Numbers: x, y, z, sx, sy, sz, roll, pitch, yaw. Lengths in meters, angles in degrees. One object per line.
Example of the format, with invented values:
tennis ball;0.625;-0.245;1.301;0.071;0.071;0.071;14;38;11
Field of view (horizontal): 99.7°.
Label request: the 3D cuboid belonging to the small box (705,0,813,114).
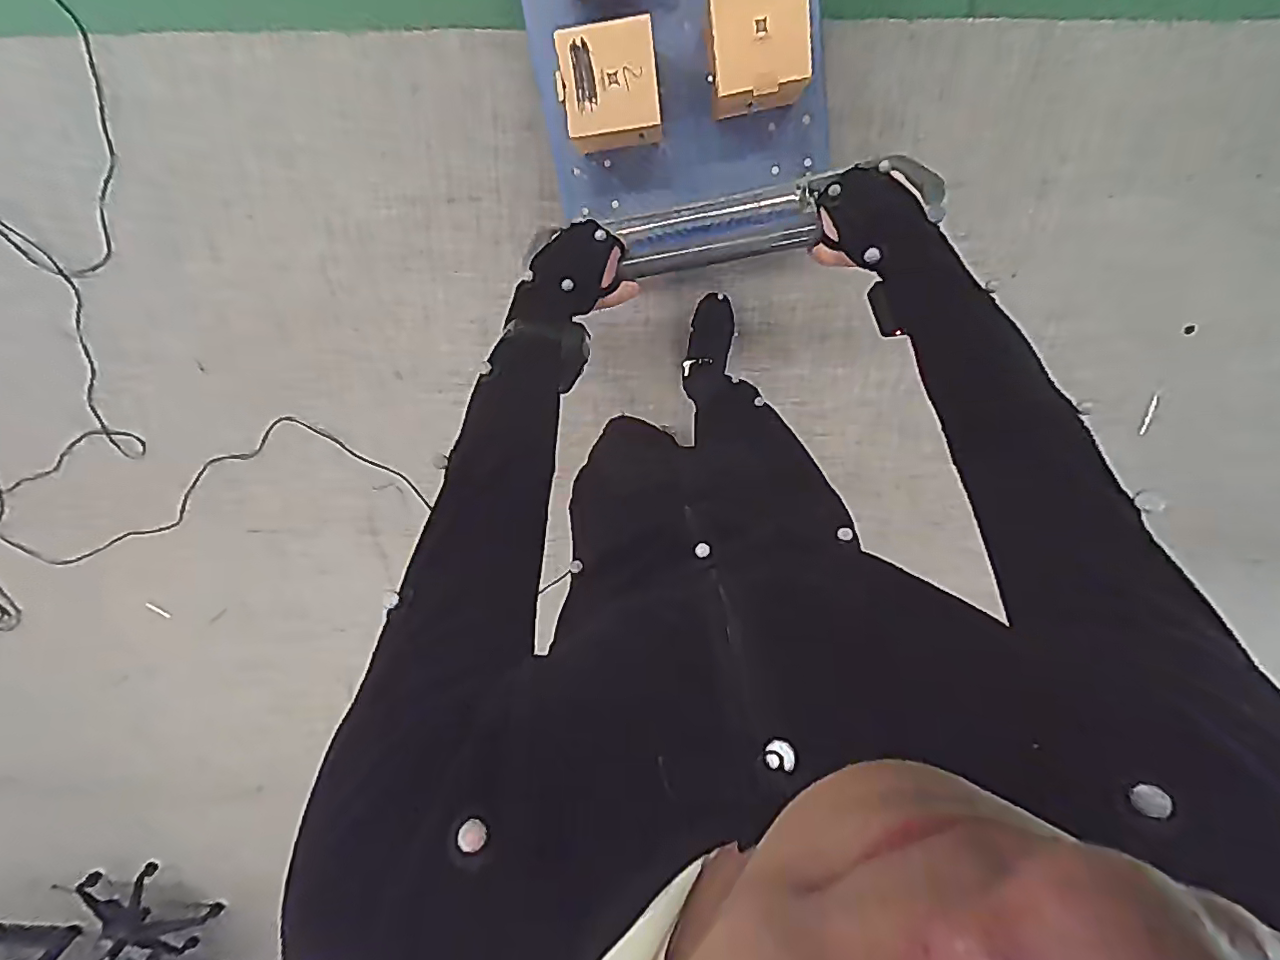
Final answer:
small box;0.216;-0.814;1.004;0.168;0.176;0.179;-8;113;7
